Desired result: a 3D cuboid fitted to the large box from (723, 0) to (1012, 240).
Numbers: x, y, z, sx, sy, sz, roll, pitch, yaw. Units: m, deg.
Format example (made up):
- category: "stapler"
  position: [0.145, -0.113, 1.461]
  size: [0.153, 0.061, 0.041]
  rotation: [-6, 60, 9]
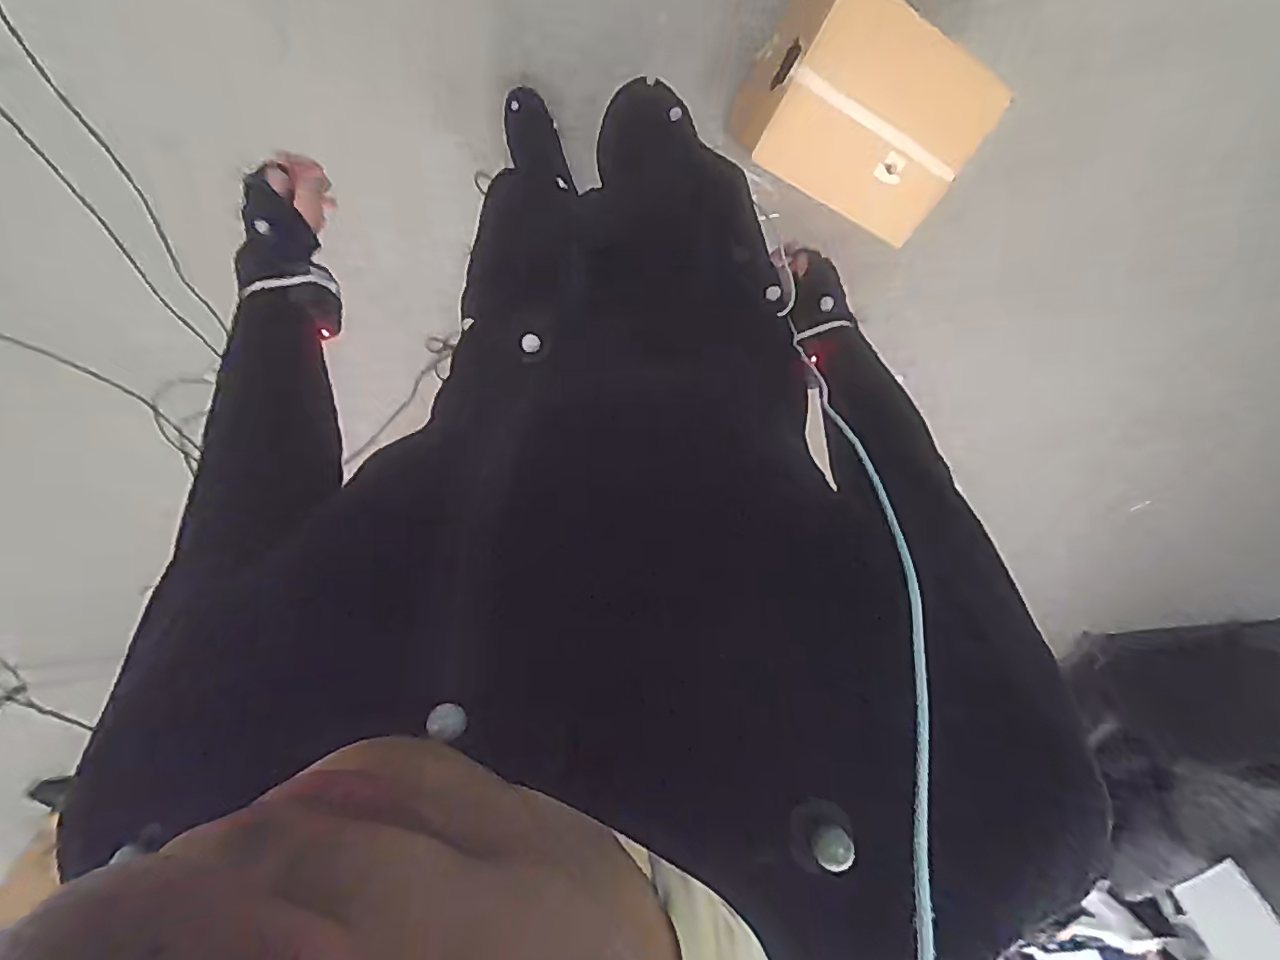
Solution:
- category: "large box"
  position: [0.443, -0.778, 1.142]
  size: [0.408, 0.320, 0.320]
  rotation: [18, 127, -20]
